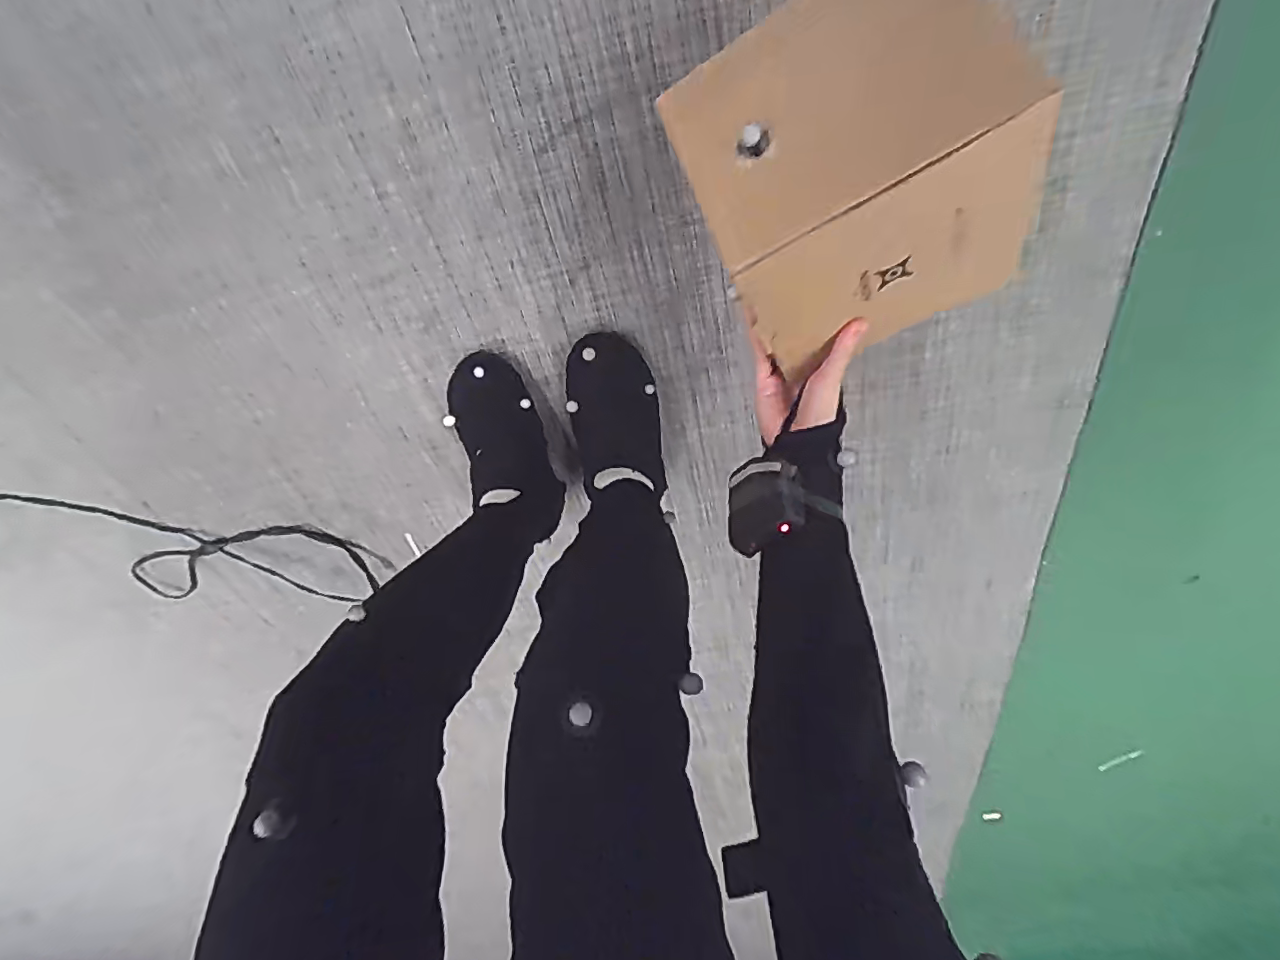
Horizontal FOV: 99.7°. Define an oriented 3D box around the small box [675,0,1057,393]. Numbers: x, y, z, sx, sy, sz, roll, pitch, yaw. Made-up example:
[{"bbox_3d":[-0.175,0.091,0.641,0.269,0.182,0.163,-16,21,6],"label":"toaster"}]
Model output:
[{"bbox_3d":[0.139,-0.196,0.385,0.179,0.176,0.168,-25,157,19],"label":"small box"}]
